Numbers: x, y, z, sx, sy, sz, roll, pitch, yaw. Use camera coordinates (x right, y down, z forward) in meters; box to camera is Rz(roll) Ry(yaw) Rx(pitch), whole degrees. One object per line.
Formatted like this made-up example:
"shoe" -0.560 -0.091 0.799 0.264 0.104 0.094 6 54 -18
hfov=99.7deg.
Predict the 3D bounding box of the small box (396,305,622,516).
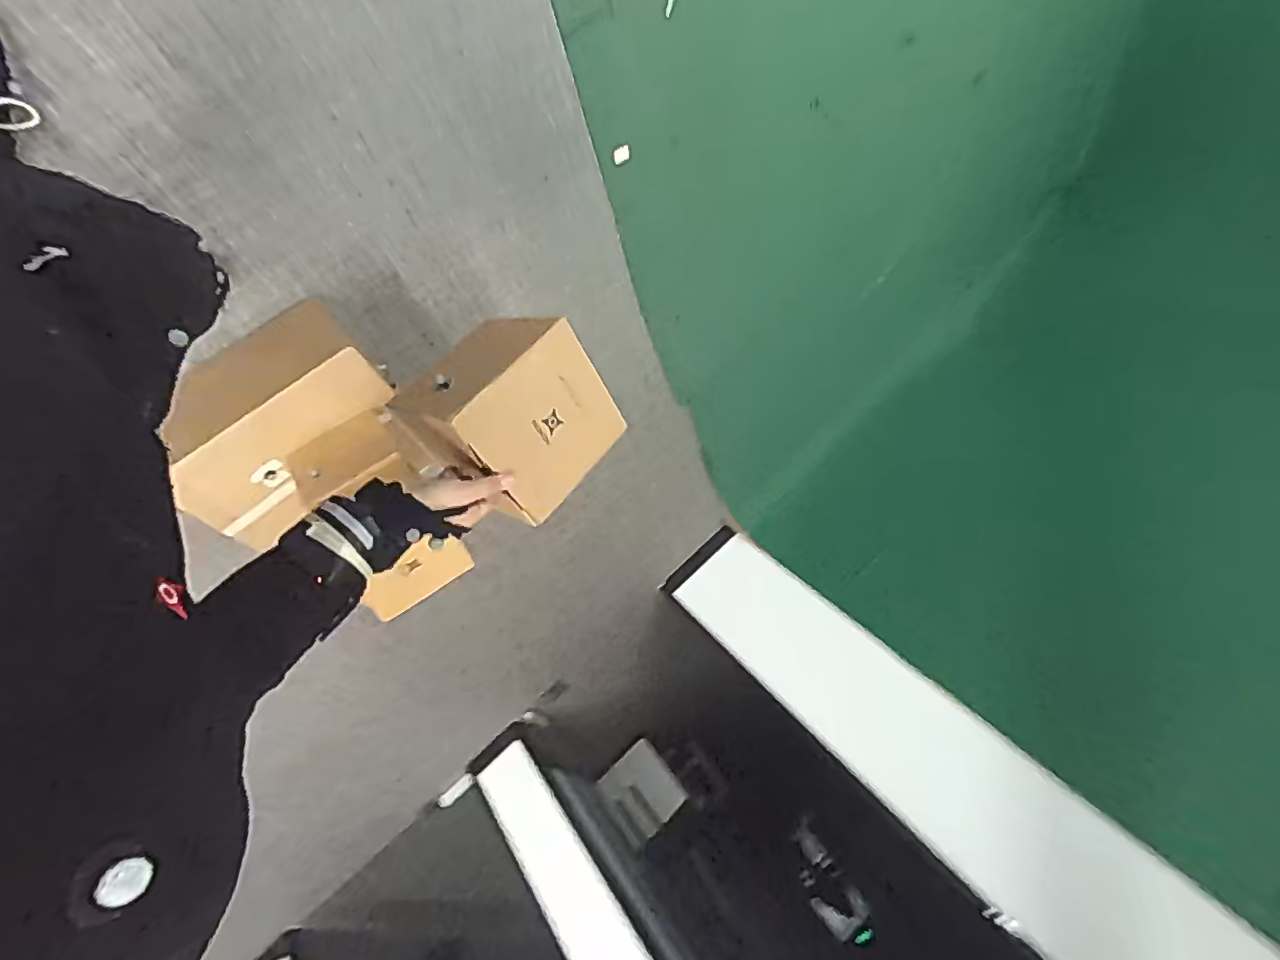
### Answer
"small box" -0.160 -0.087 0.648 0.179 0.176 0.168 -52 134 -24

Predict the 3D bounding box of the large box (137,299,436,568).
"large box" -0.726 -0.104 1.137 0.408 0.320 0.320 -40 141 -12

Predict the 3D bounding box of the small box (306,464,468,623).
"small box" -0.434 0.103 0.934 0.179 0.176 0.168 -33 140 -20
